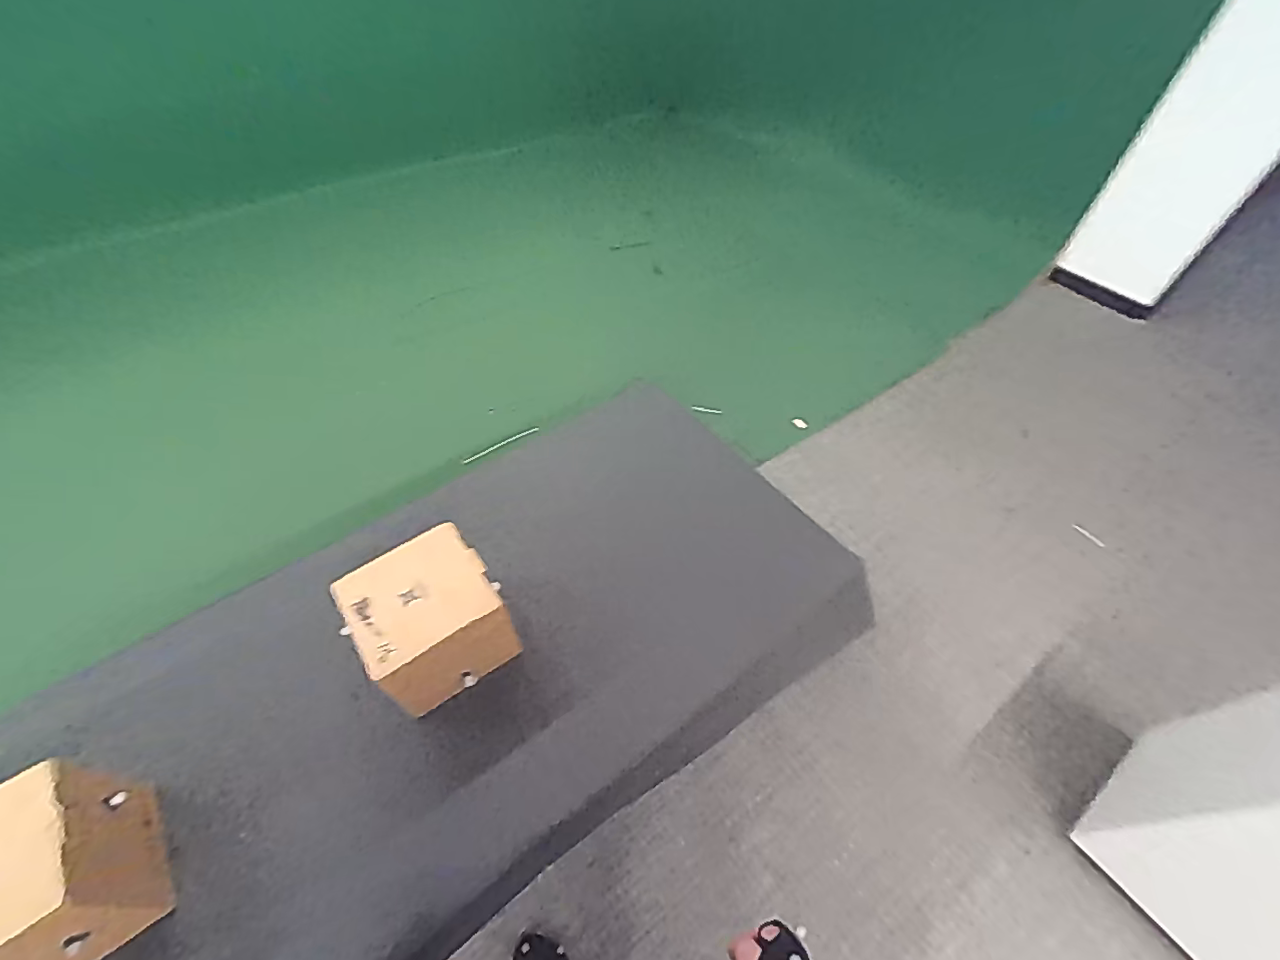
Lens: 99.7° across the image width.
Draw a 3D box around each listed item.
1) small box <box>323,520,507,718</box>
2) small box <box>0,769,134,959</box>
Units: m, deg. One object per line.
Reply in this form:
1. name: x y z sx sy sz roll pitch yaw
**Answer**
1. small box: -0.299 0.195 0.755 0.179 0.176 0.168 -29 59 -25
2. small box: -0.656 0.431 0.536 0.179 0.176 0.168 -32 58 -25
